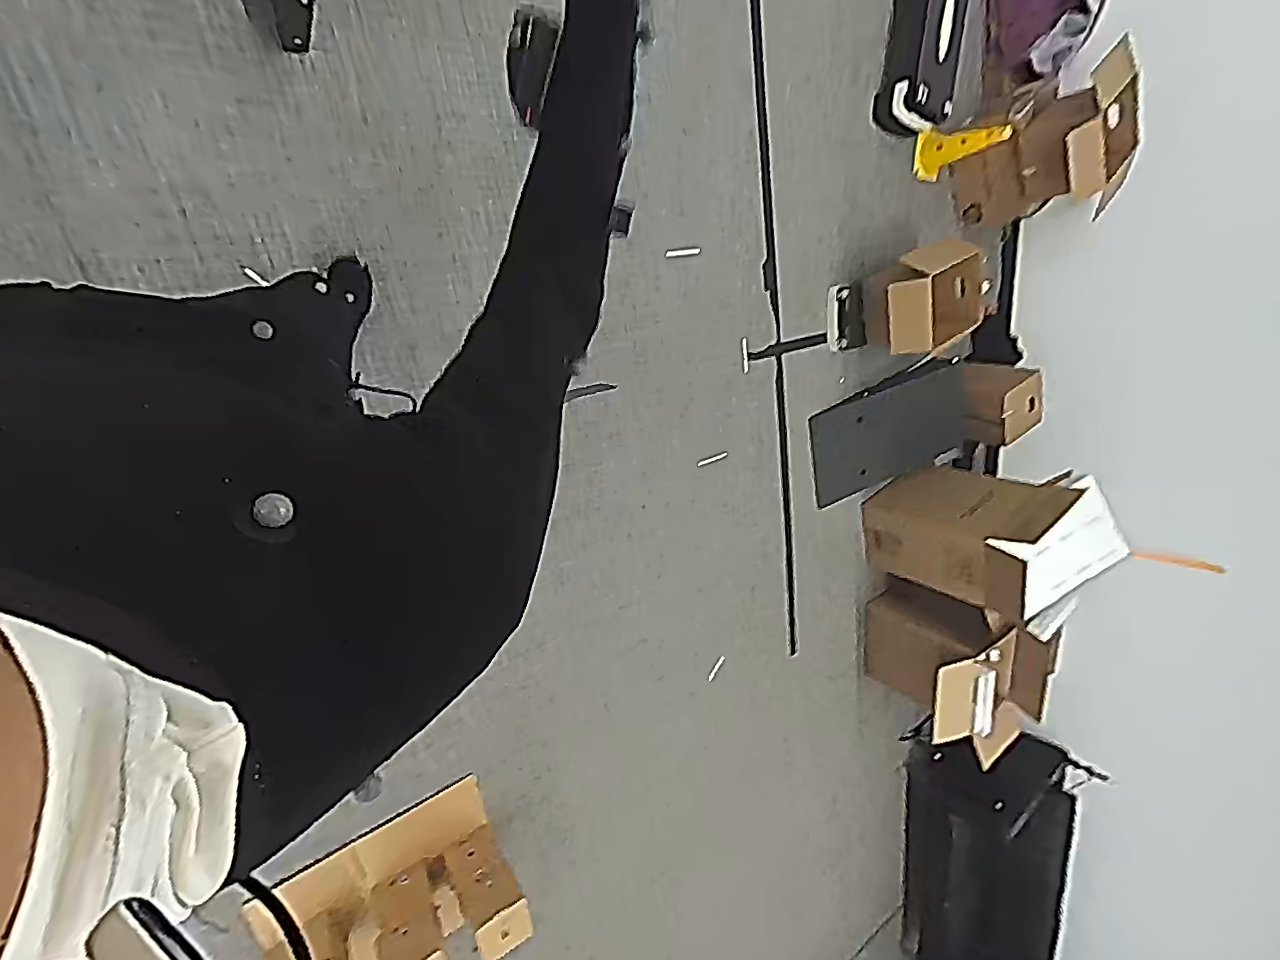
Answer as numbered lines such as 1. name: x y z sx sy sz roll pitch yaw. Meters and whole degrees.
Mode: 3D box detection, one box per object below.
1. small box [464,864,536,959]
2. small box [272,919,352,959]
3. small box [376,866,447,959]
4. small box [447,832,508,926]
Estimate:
1. small box: -0.457 1.414 1.760 0.168 0.176 0.179 -17 111 -32
2. small box: -0.979 1.483 1.619 0.179 0.176 0.168 -29 117 -25
3. small box: -0.749 1.425 1.766 0.168 0.176 0.179 -16 111 -31
4. small box: -0.558 1.376 1.885 0.168 0.176 0.179 -18 111 -31
